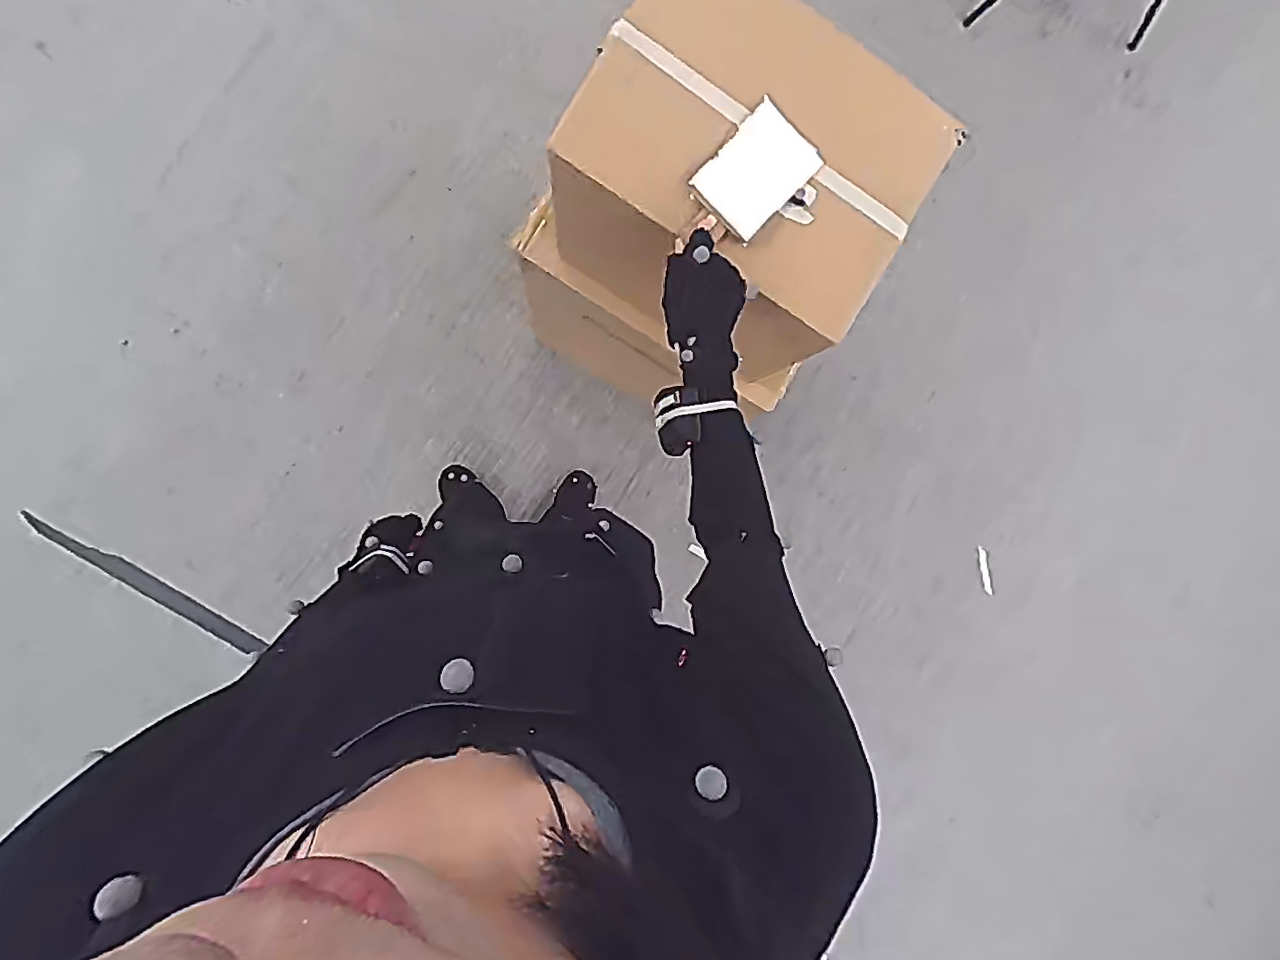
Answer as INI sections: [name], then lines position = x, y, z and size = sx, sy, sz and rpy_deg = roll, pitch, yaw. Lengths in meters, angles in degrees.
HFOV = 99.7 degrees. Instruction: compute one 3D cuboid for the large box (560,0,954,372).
[large box]
position = 0.128, -0.412, 0.790
size = 0.408, 0.320, 0.320
rpy_deg = 31, 88, -8
